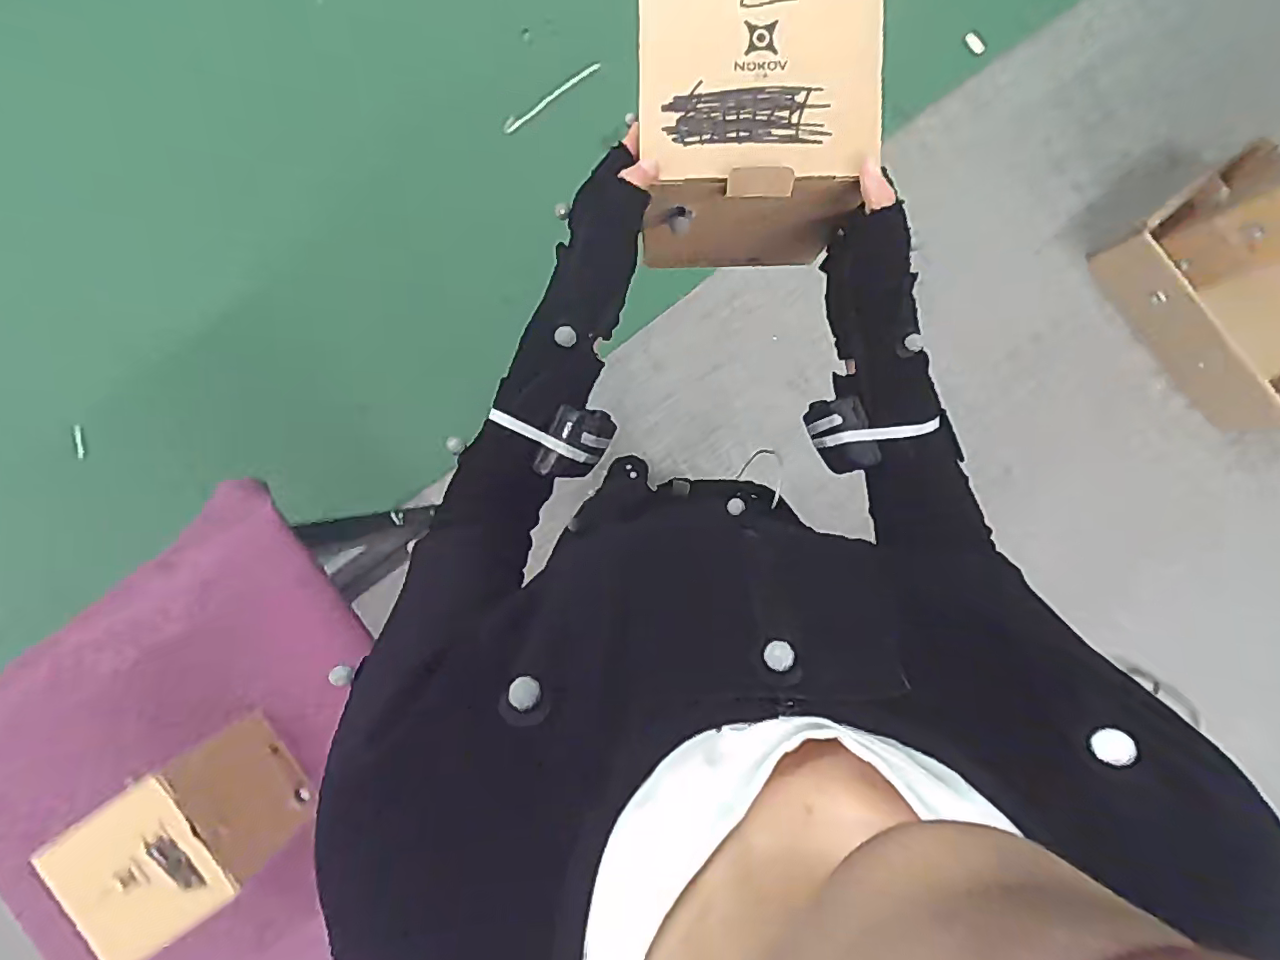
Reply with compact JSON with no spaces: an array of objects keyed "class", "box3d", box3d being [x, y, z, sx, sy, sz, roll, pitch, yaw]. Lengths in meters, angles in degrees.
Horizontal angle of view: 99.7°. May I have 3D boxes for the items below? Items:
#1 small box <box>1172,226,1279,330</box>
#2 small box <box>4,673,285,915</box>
[{"class":"small box","box3d":[1.512,-0.504,1.348,0.179,0.176,0.168,-33,91,-1]},{"class":"small box","box3d":[-0.589,0.371,0.676,0.179,0.176,0.168,-27,89,0]}]
